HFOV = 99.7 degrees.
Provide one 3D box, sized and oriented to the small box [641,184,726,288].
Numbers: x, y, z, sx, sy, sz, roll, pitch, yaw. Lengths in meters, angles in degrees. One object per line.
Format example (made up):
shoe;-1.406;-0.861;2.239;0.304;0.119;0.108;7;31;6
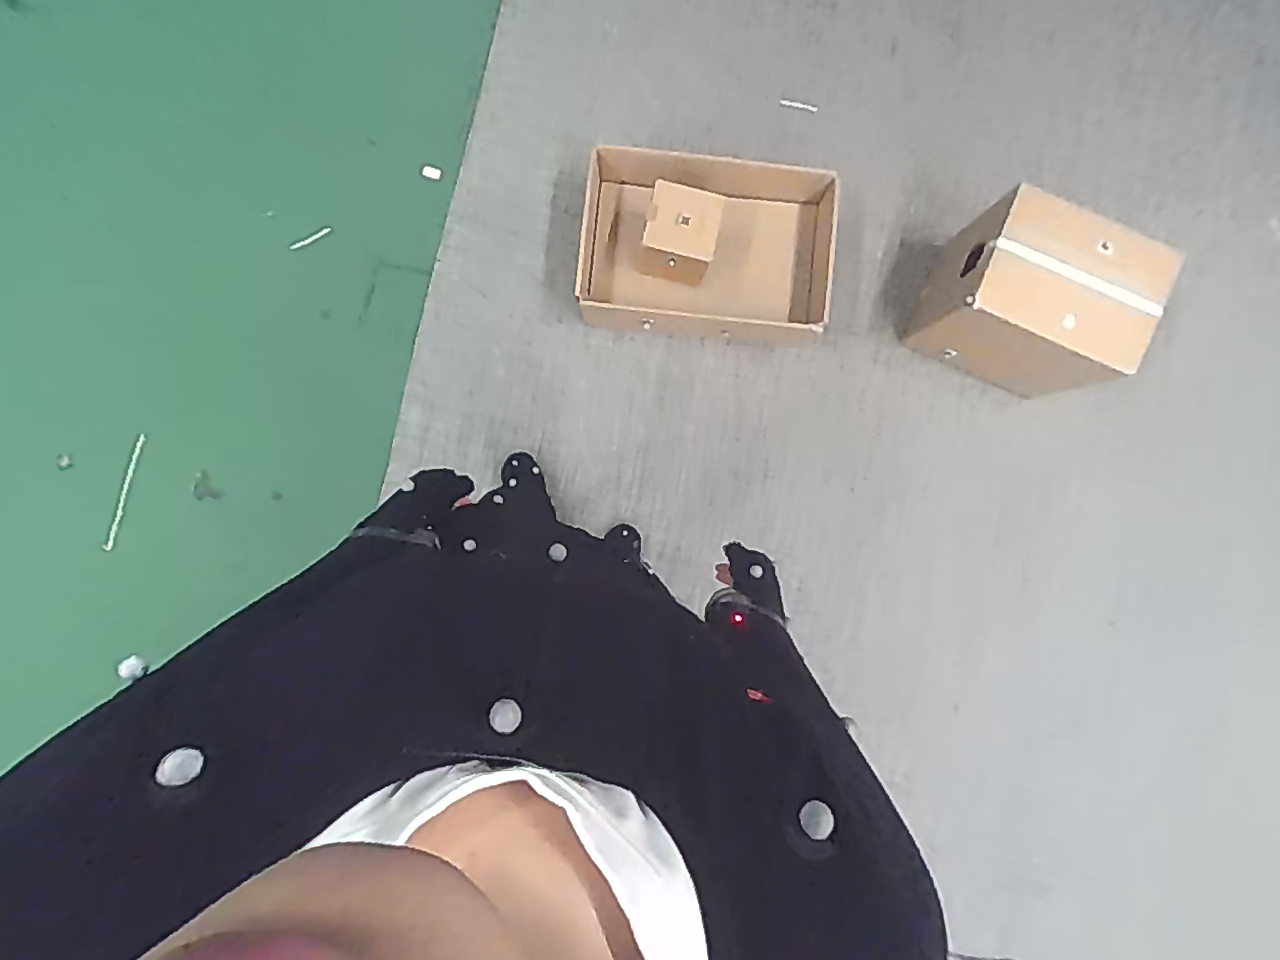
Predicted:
small box;0.103;-0.612;1.378;0.179;0.176;0.168;13;88;-3
